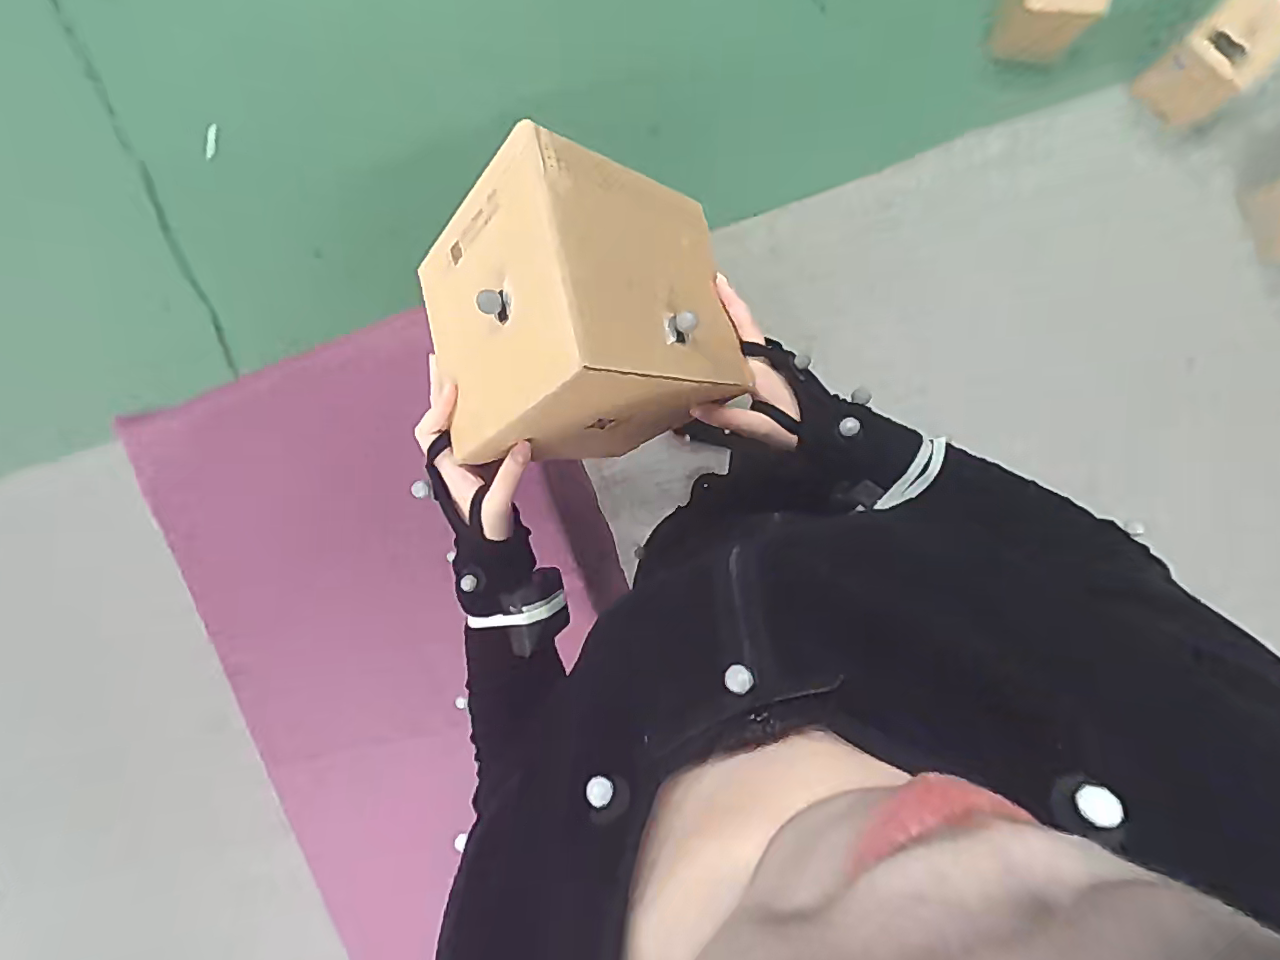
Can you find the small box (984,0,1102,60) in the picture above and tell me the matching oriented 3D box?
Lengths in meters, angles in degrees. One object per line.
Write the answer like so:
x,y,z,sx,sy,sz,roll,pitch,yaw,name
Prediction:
0.913,-1.103,1.221,0.168,0.176,0.179,7,96,5,small box
